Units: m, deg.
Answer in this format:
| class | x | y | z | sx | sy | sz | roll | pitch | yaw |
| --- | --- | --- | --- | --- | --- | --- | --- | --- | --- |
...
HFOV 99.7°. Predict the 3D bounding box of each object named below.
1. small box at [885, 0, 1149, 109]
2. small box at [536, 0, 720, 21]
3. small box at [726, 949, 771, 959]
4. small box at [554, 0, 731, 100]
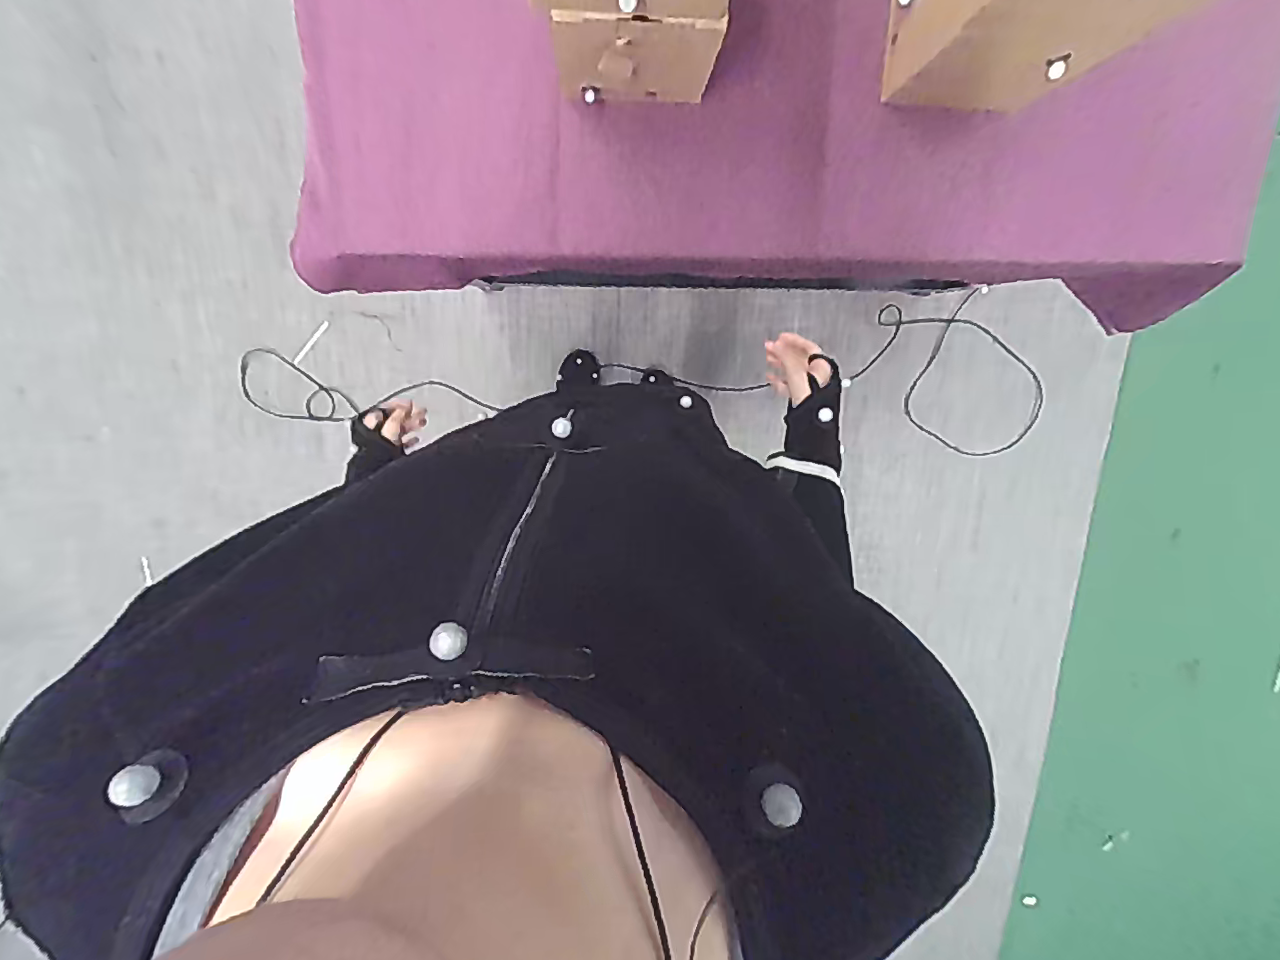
| class | x | y | z | sx | sy | sz | roll | pitch | yaw |
| --- | --- | --- | --- | --- | --- | --- | --- | --- | --- |
| small box | 0.394 | -0.520 | 0.572 | 0.179 | 0.176 | 0.168 | 1 | 104 | -3 |
| small box | -0.001 | -0.477 | 0.393 | 0.179 | 0.176 | 0.168 | 1 | 104 | -4 |
| small box | 0.401 | 1.835 | 1.938 | 0.168 | 0.176 | 0.179 | 1 | 104 | -3 |
| small box | 0.001 | -0.520 | 0.553 | 0.168 | 0.176 | 0.179 | 0 | 104 | -3 |
